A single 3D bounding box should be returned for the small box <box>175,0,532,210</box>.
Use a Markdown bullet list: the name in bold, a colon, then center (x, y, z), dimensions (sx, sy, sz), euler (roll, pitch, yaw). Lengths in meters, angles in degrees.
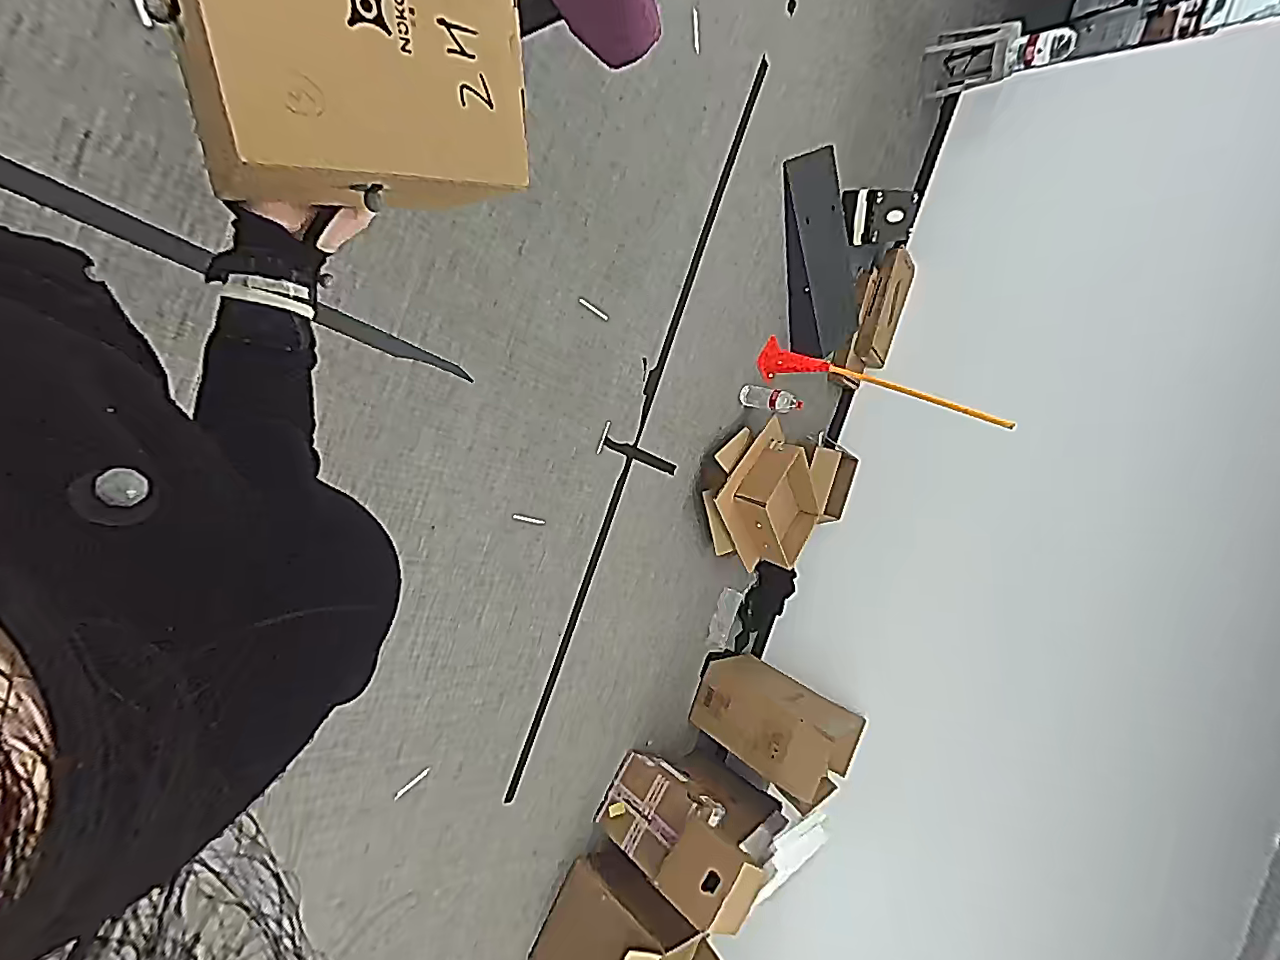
- **small box**: center (-0.197, -0.285, 0.369), dimensions (0.179, 0.176, 0.168), euler (-18, 117, -37)
